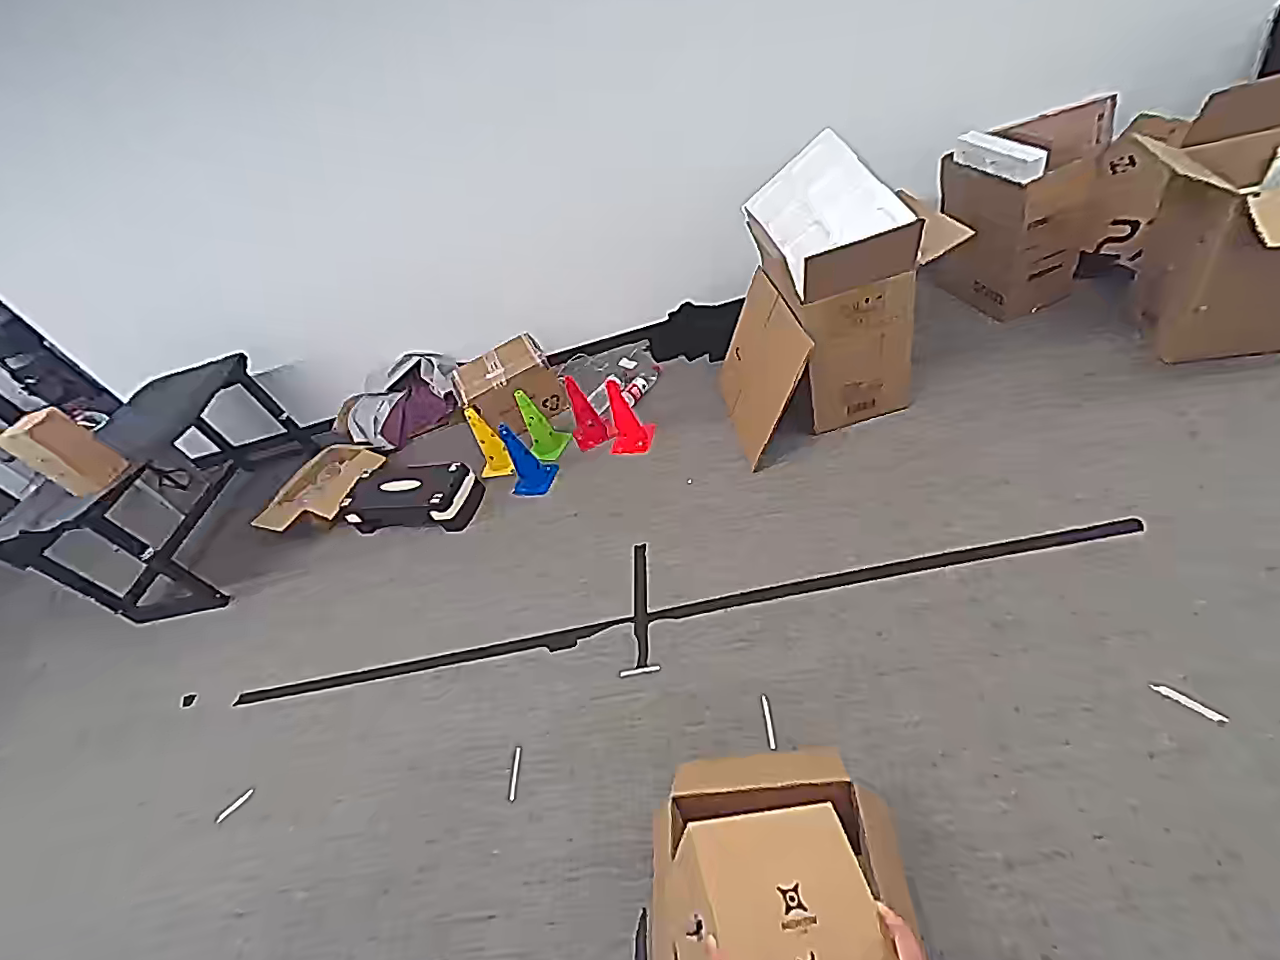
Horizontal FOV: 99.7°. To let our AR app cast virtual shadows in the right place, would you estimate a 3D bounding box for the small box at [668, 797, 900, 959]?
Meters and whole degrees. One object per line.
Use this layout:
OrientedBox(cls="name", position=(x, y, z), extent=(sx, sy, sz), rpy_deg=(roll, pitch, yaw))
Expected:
OrientedBox(cls="small box", position=(0.132, 0.462, 0.551), extent=(0.168, 0.176, 0.179), rpy_deg=(-1, 37, -12))
